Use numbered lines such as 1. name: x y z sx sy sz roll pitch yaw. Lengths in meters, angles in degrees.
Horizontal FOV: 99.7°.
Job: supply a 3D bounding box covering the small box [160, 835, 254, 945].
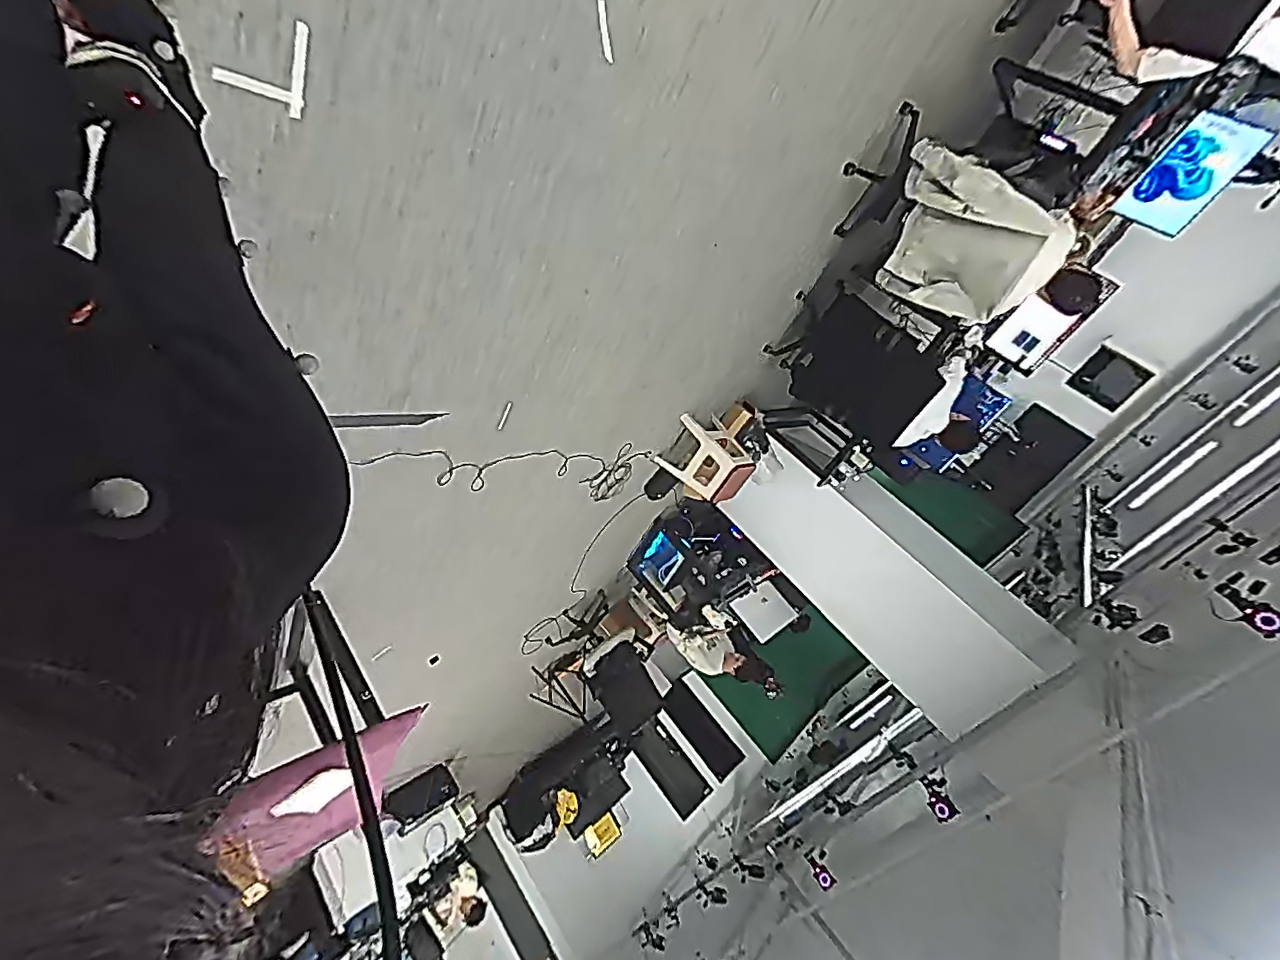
1. small box: -1.252 1.182 1.564 0.179 0.176 0.168 -20 147 -41
